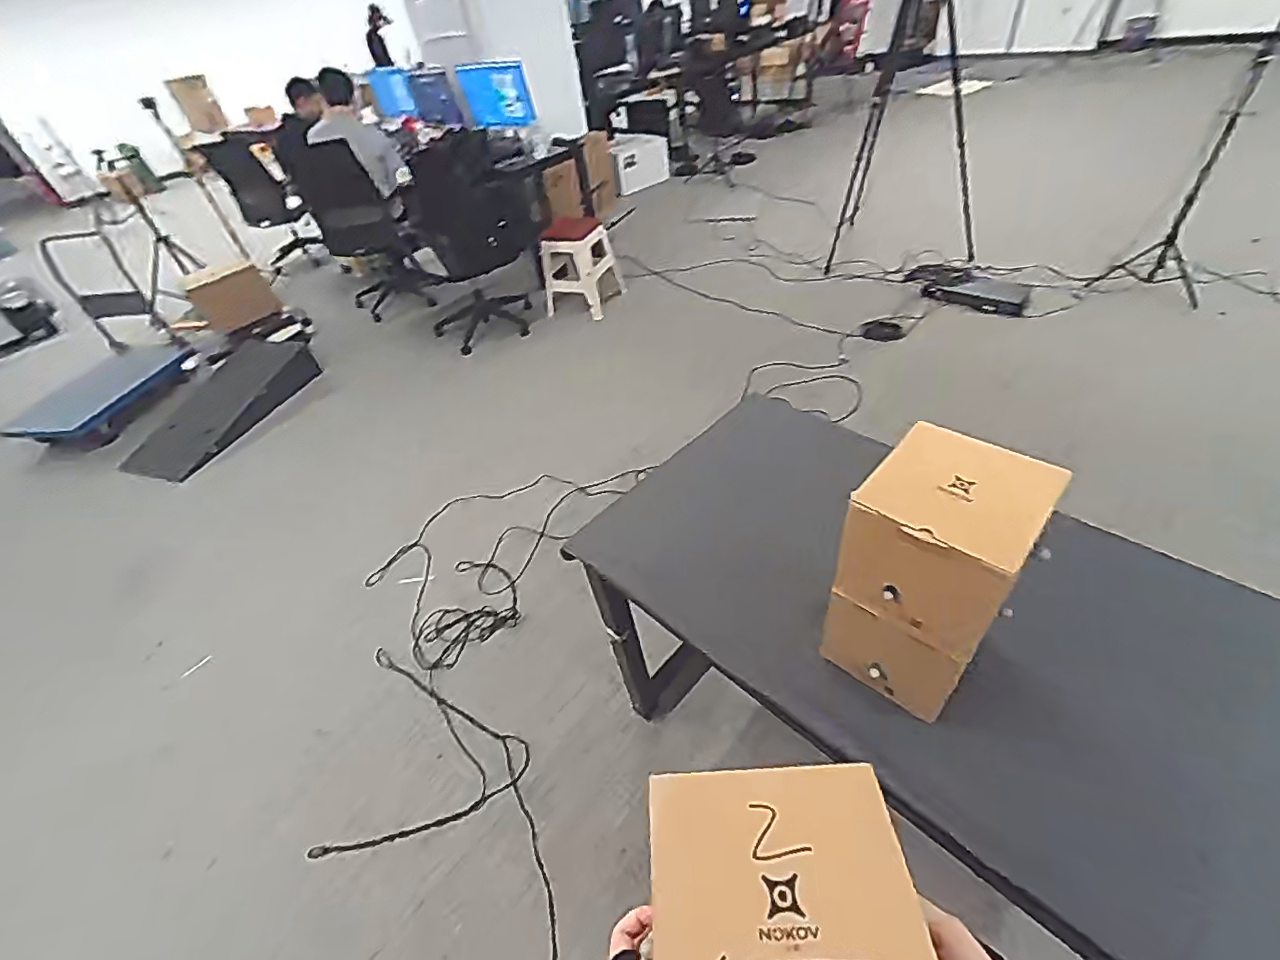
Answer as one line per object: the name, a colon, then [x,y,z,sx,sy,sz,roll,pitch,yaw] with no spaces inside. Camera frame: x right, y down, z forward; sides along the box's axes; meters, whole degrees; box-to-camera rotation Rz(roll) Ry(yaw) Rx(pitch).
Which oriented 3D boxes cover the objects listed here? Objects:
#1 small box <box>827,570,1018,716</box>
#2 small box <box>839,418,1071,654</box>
small box: [0.374,0.179,0.744,0.168,0.176,0.179,29,55,35]
small box: [0.353,0.062,0.634,0.168,0.176,0.179,30,56,35]
